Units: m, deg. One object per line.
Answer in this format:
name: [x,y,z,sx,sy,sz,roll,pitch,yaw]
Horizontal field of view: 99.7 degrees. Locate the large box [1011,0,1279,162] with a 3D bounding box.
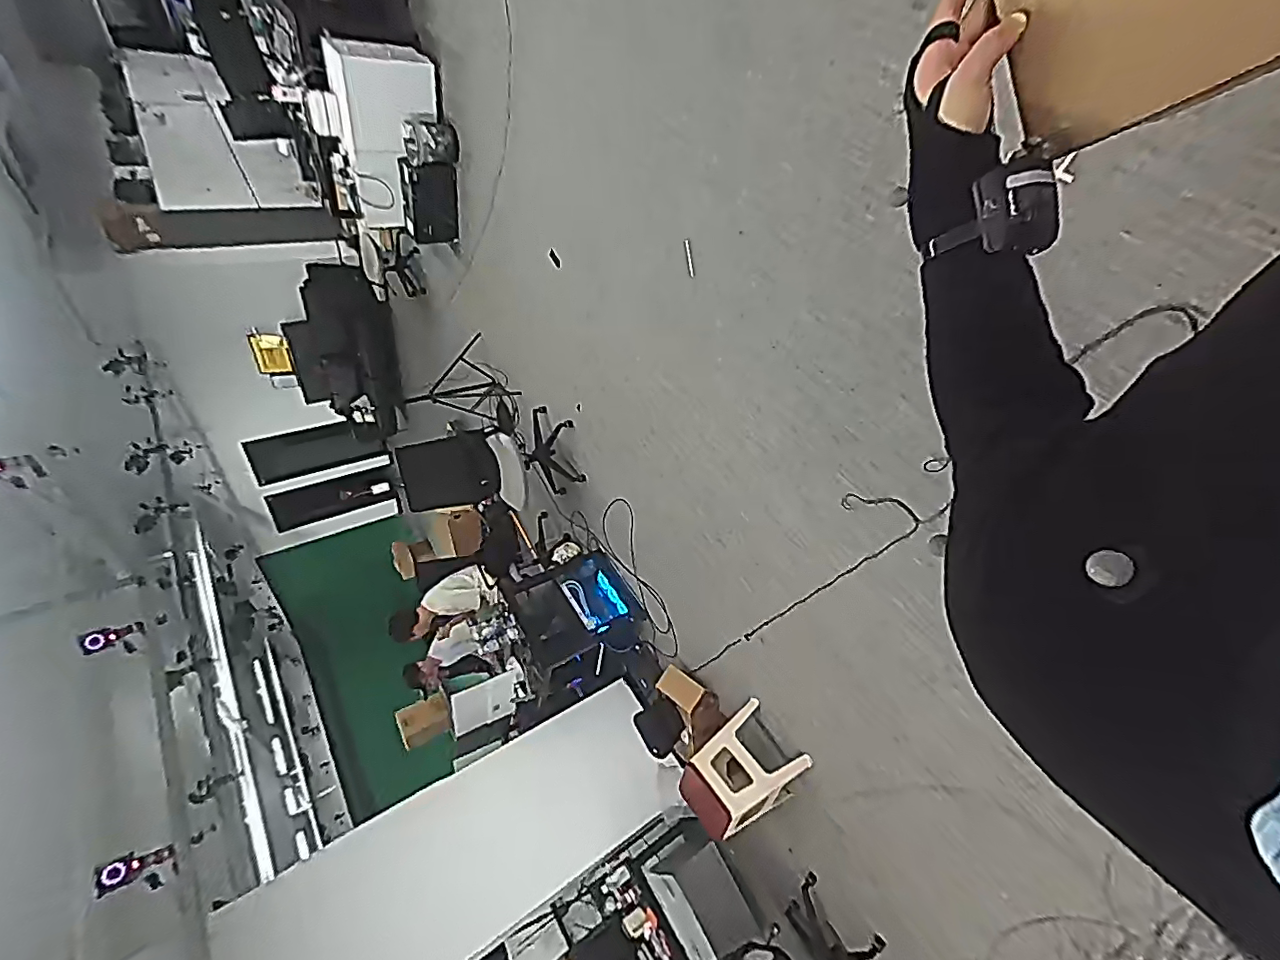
large box: [0.483,-0.462,0.300,0.408,0.320,0.320,-5,111,59]
